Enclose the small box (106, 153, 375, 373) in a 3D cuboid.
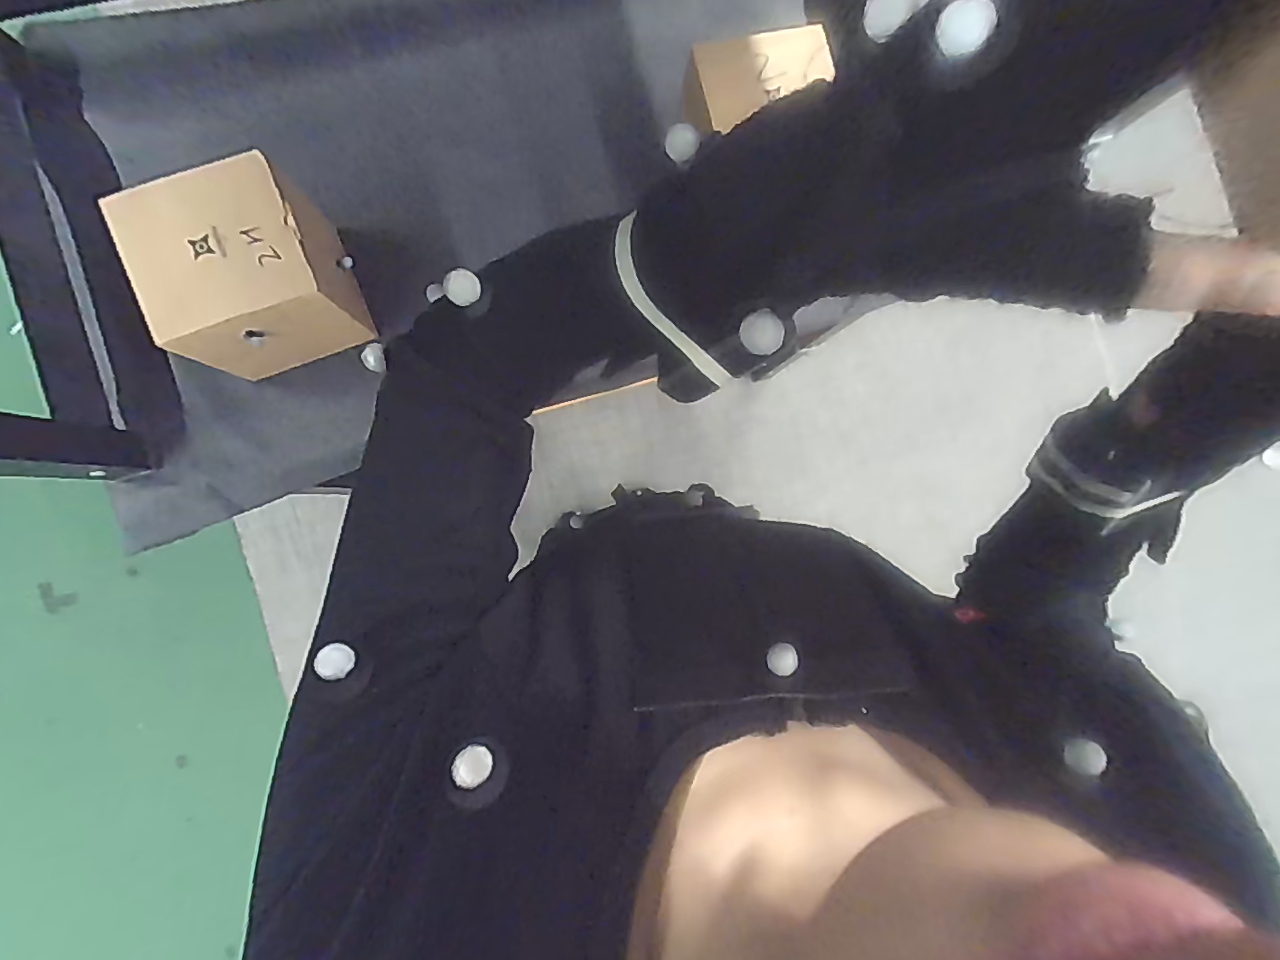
[{"bbox_3d":[-0.460,-0.245,0.654,0.179,0.176,0.168,-21,90,-7],"label":"small box"}]
